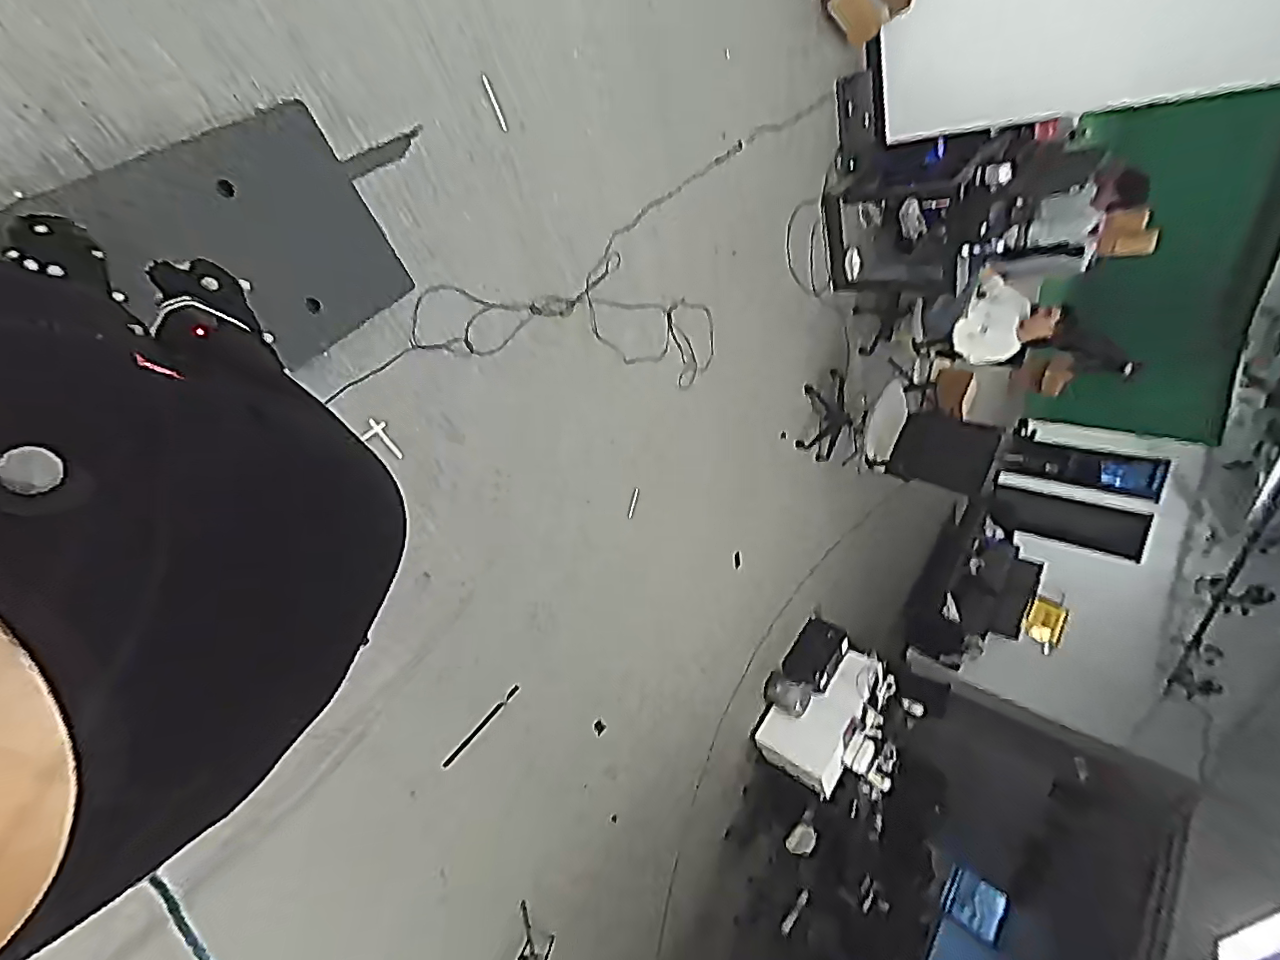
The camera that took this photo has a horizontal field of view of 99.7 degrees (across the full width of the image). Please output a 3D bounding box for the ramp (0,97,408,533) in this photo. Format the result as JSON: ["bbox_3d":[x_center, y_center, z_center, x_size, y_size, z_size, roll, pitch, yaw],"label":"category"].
[{"bbox_3d":[-0.998,-0.408,1.171,0.991,0.206,0.509,-49,133,-25],"label":"ramp"}]
